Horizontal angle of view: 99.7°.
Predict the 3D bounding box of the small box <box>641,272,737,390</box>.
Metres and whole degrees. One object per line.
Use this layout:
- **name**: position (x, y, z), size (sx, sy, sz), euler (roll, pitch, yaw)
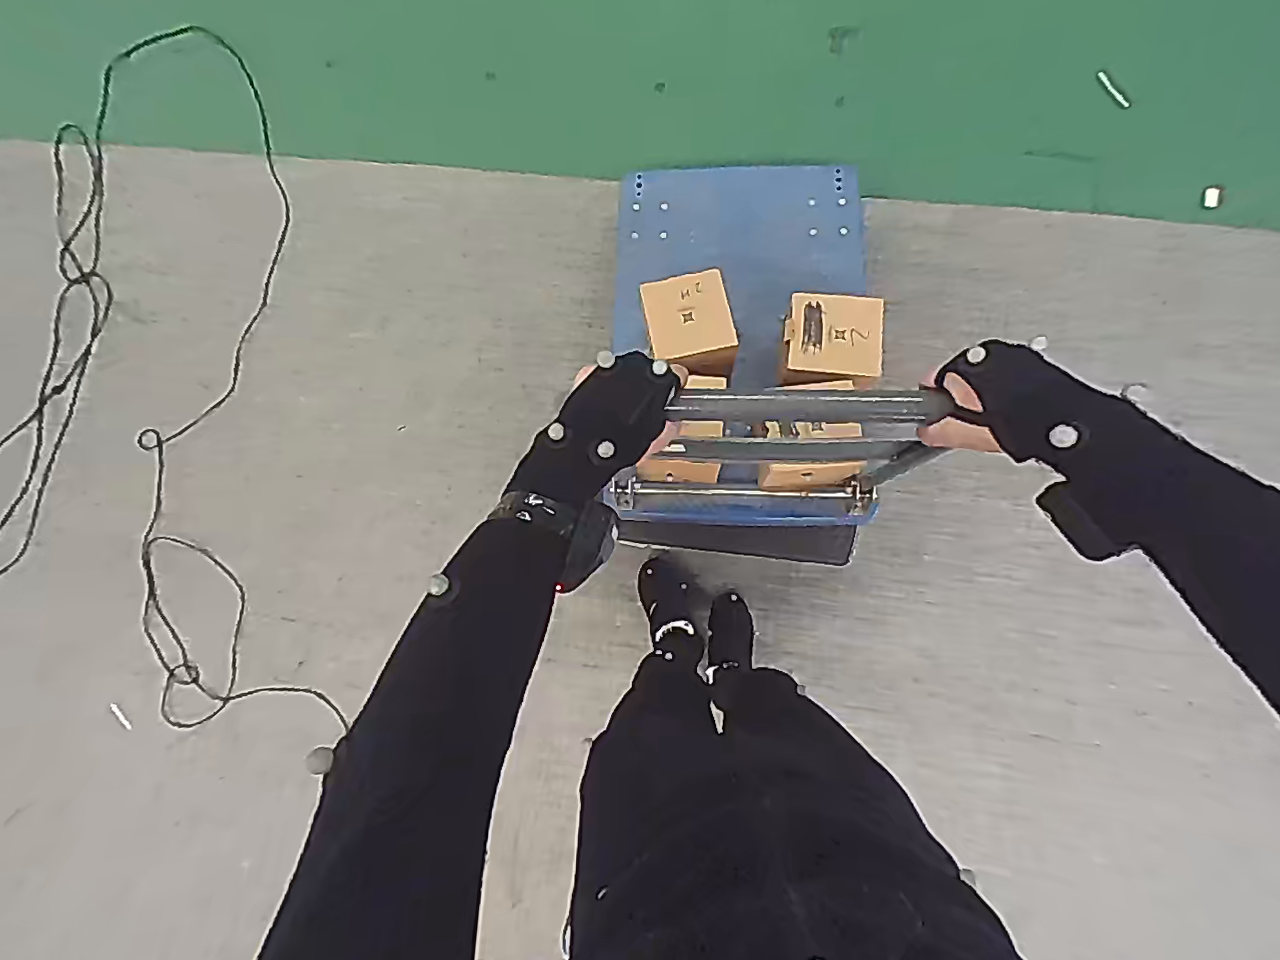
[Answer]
- **small box**: position (0.102, -0.303, 1.143), size (0.168, 0.176, 0.179), euler (-11, 76, 1)
